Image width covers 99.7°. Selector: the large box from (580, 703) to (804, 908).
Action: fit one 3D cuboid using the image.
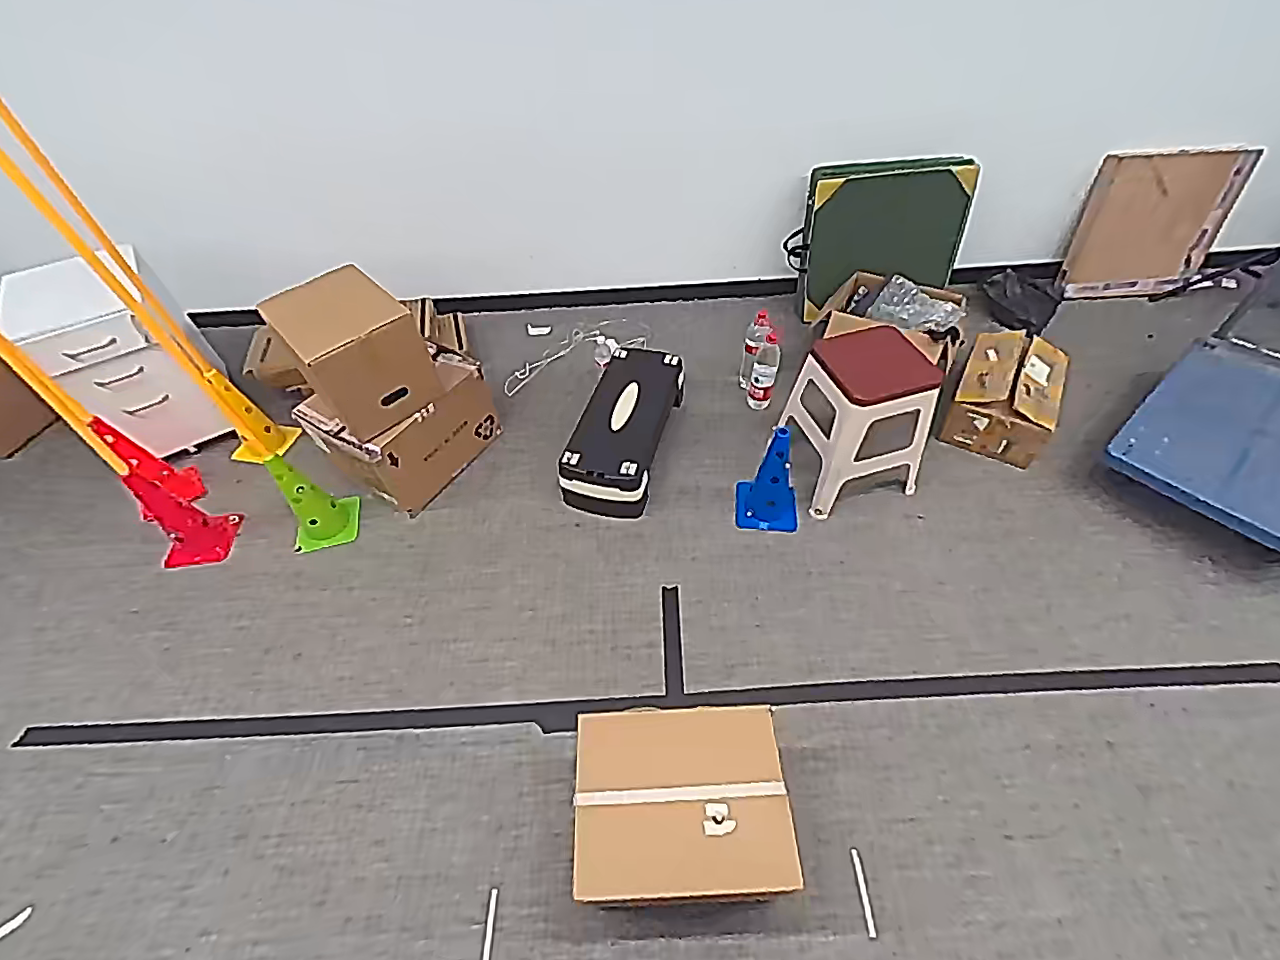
[{"bbox_3d":[0.086,0.695,1.150,0.408,0.320,0.320,-3,50,-1],"label":"large box"}]
